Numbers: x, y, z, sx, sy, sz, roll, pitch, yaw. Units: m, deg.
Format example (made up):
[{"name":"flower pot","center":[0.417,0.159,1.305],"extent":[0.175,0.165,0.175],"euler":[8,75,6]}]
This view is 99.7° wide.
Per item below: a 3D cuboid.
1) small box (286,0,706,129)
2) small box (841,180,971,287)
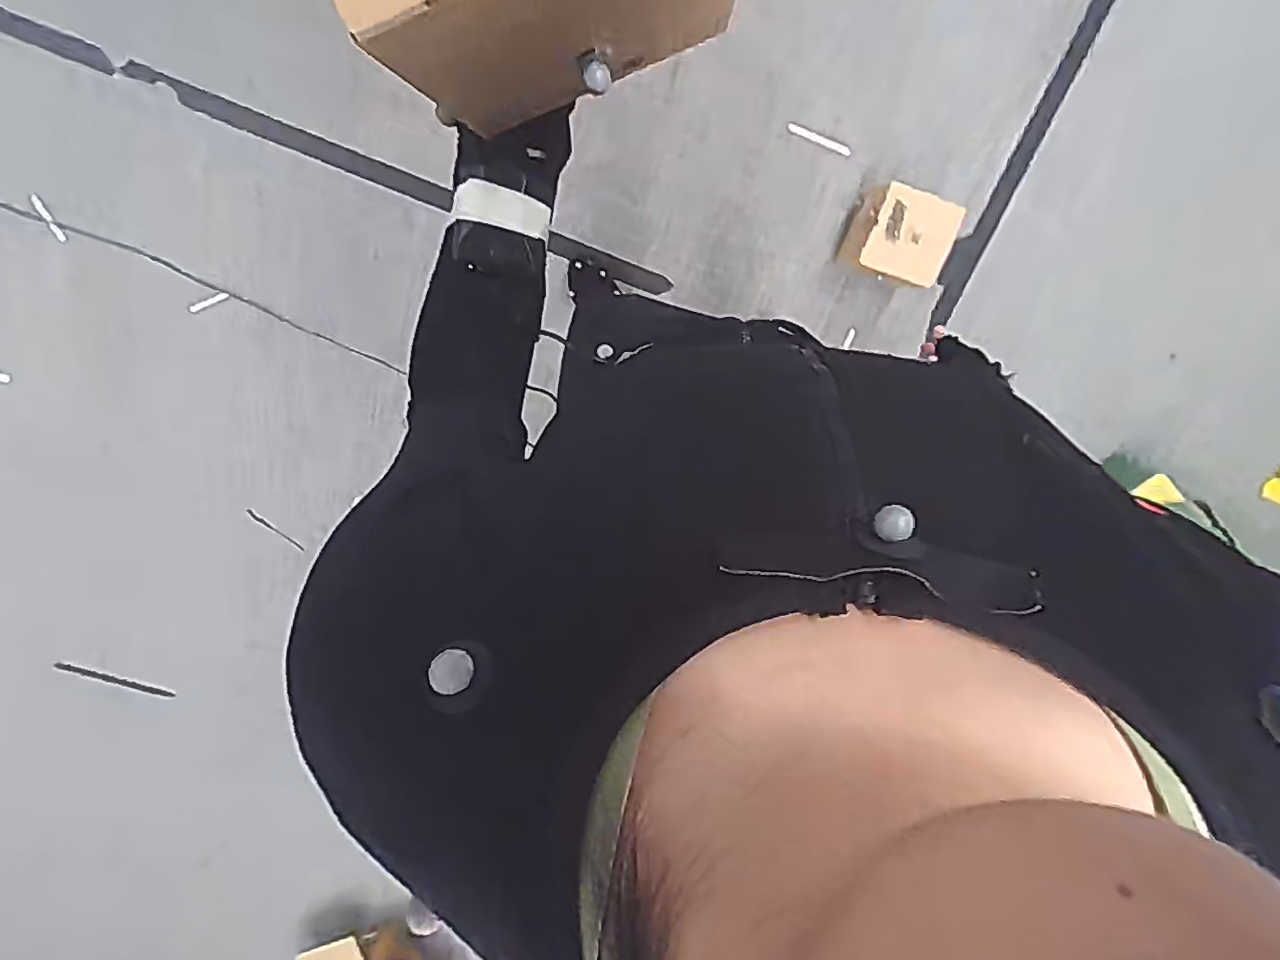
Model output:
[{"name":"small box","center":[-0.068,-0.288,0.235],"extent":[0.168,0.176,0.179],"euler":[-14,113,9]},{"name":"small box","center":[0.582,-0.544,1.213],"extent":[0.179,0.176,0.168],"euler":[18,111,-5]}]
